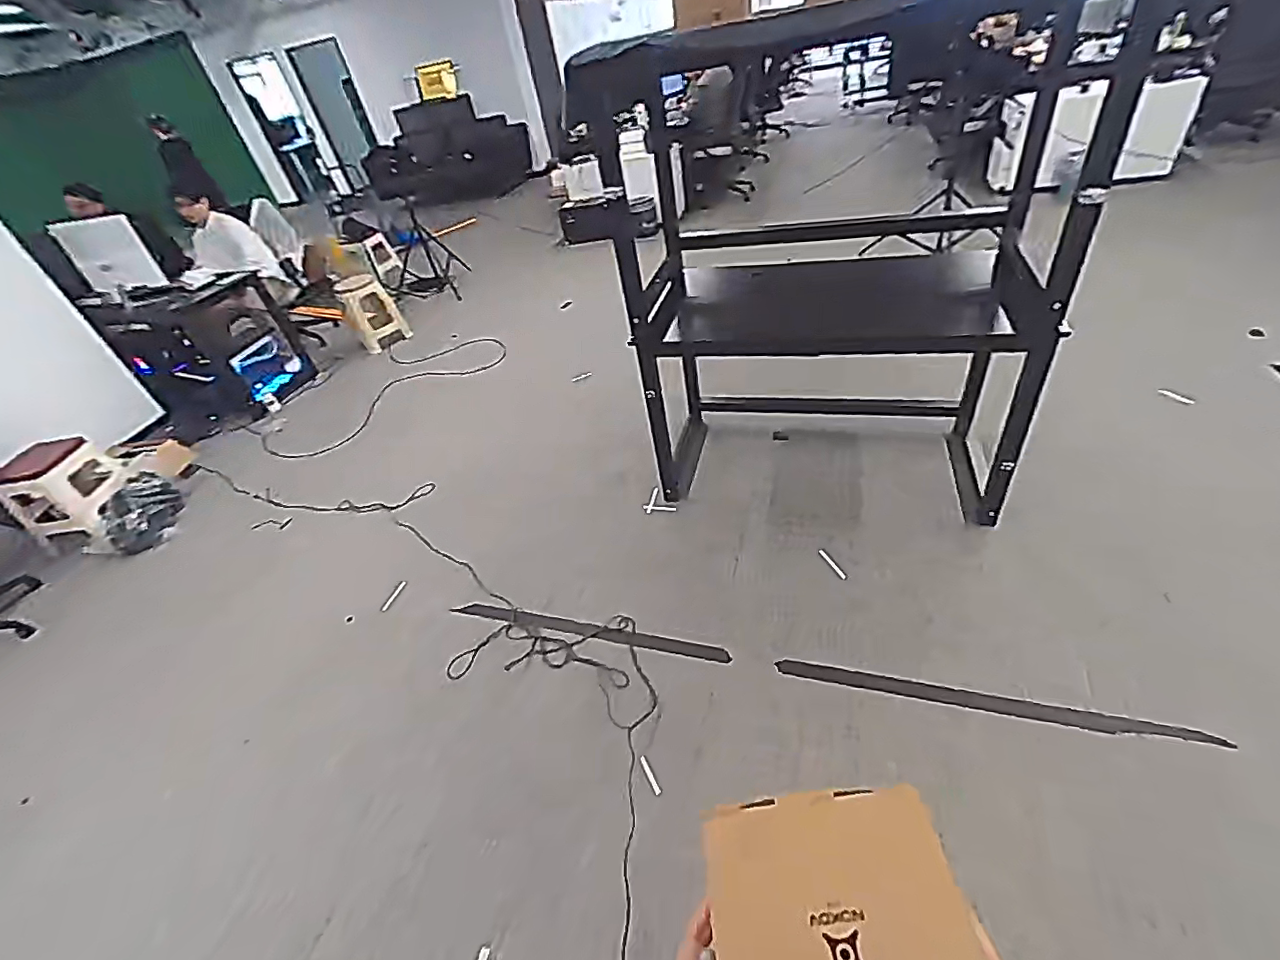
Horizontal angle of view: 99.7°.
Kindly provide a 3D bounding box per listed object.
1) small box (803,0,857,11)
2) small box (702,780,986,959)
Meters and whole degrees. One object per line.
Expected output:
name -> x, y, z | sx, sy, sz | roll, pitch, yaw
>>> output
small box -> 0.436, -1.115, 1.139 | 0.168, 0.176, 0.179 | 5, 40, 19
small box -> 0.143, 0.352, 0.400 | 0.168, 0.176, 0.179 | -10, 43, 5
